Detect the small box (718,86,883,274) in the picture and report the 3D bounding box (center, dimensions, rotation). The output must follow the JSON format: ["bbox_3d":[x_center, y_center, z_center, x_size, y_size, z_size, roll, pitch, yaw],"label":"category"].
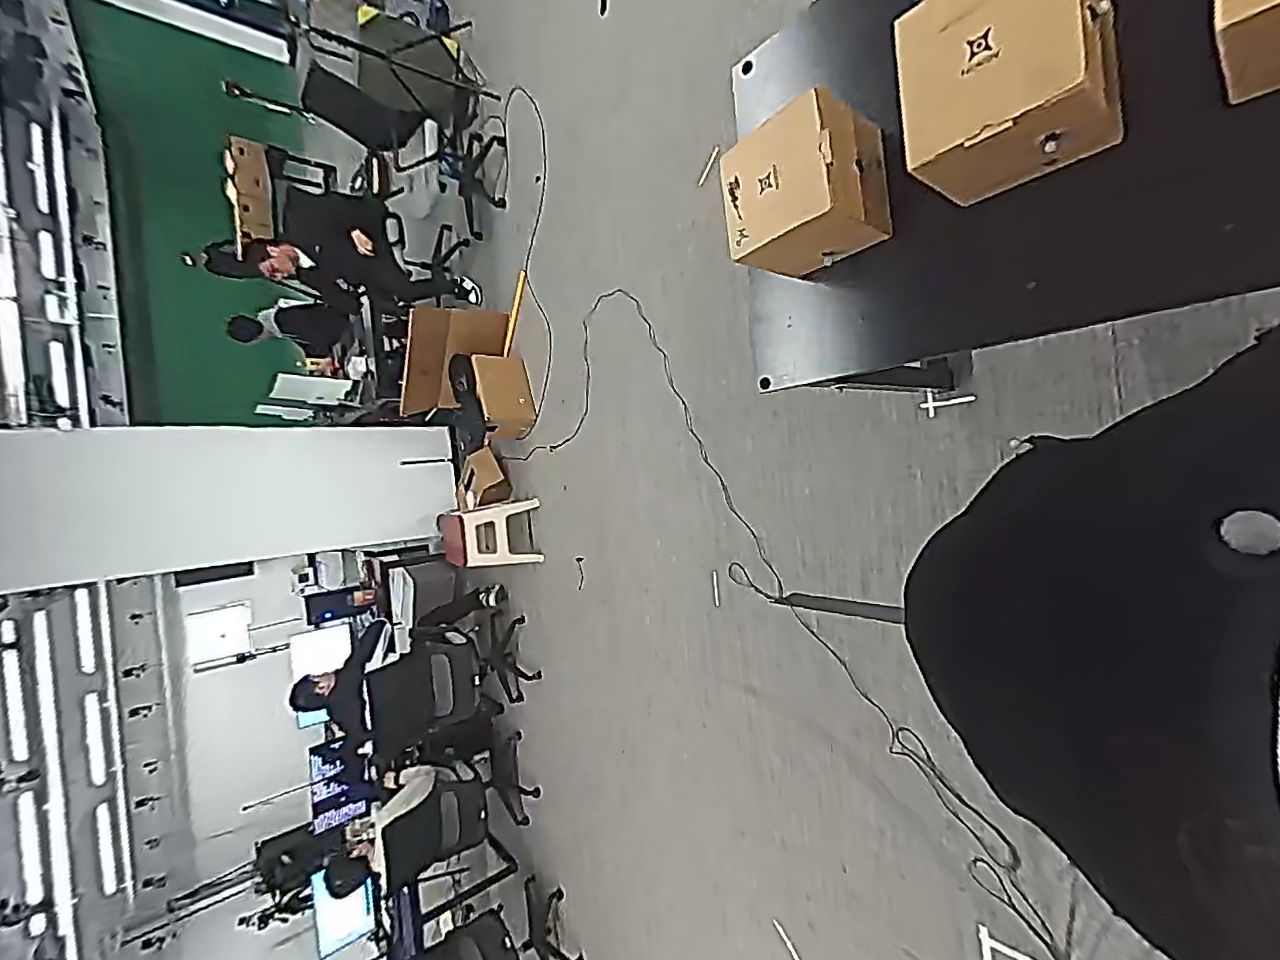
[{"bbox_3d":[0.245,-0.430,0.811,0.179,0.176,0.168,-8,88,50],"label":"small box"}]

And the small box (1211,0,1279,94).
[{"bbox_3d":[0.566,-0.450,0.414,0.168,0.176,0.179,2,96,51],"label":"small box"}]

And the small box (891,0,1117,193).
[{"bbox_3d":[0.409,-0.452,0.609,0.168,0.176,0.179,-6,89,51],"label":"small box"}]
